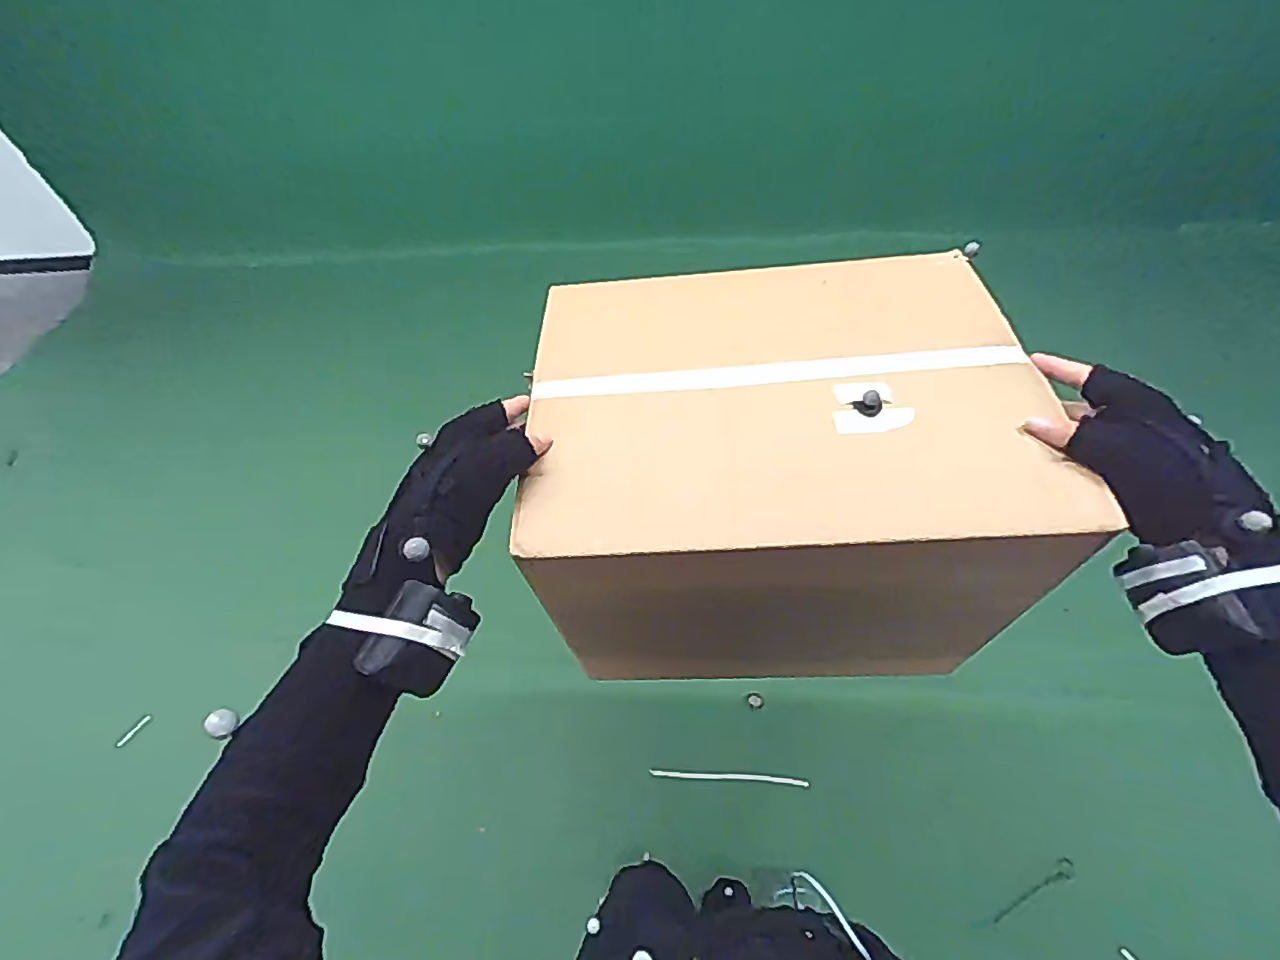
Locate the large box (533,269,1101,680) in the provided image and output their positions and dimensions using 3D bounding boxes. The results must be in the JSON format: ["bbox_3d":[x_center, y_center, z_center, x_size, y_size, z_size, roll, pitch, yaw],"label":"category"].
[{"bbox_3d":[0.127,0.010,0.584,0.408,0.320,0.320,-3,54,4],"label":"large box"}]
